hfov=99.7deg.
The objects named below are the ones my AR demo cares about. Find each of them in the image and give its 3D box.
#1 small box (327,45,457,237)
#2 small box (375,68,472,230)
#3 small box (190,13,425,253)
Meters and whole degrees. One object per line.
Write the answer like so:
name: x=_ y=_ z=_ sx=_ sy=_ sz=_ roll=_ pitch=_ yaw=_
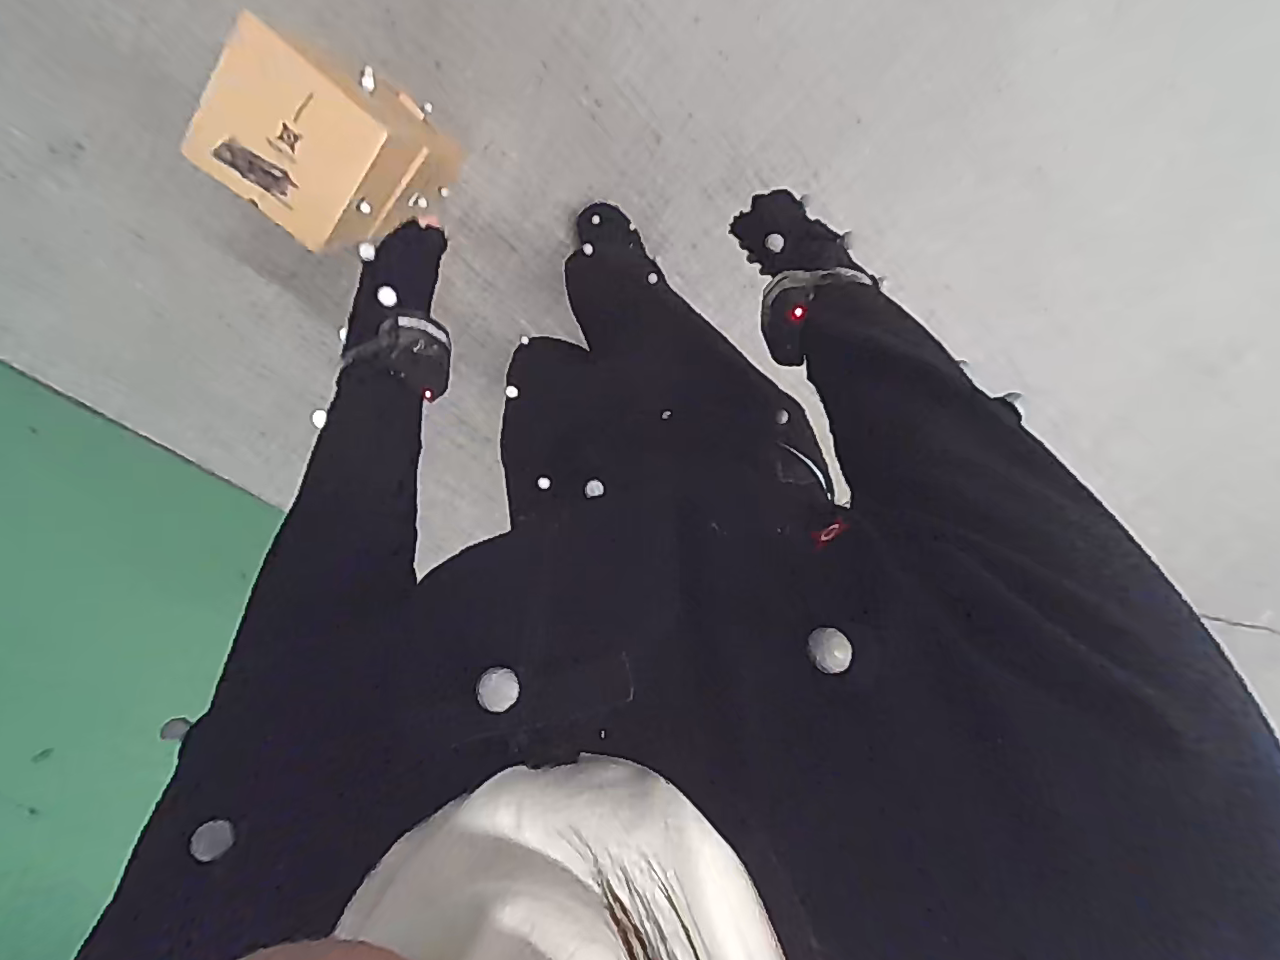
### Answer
small box: x=-0.412 y=-0.507 z=0.831 sx=0.179 sy=0.176 sz=0.168 roll=39 pitch=112 yaw=-24
small box: x=-0.424 y=-0.586 z=0.973 sx=0.179 sy=0.176 sz=0.168 roll=-41 pitch=115 yaw=17
small box: x=-0.404 y=-0.425 z=0.689 sx=0.168 sy=0.176 sz=0.179 roll=38 pitch=111 yaw=-23
